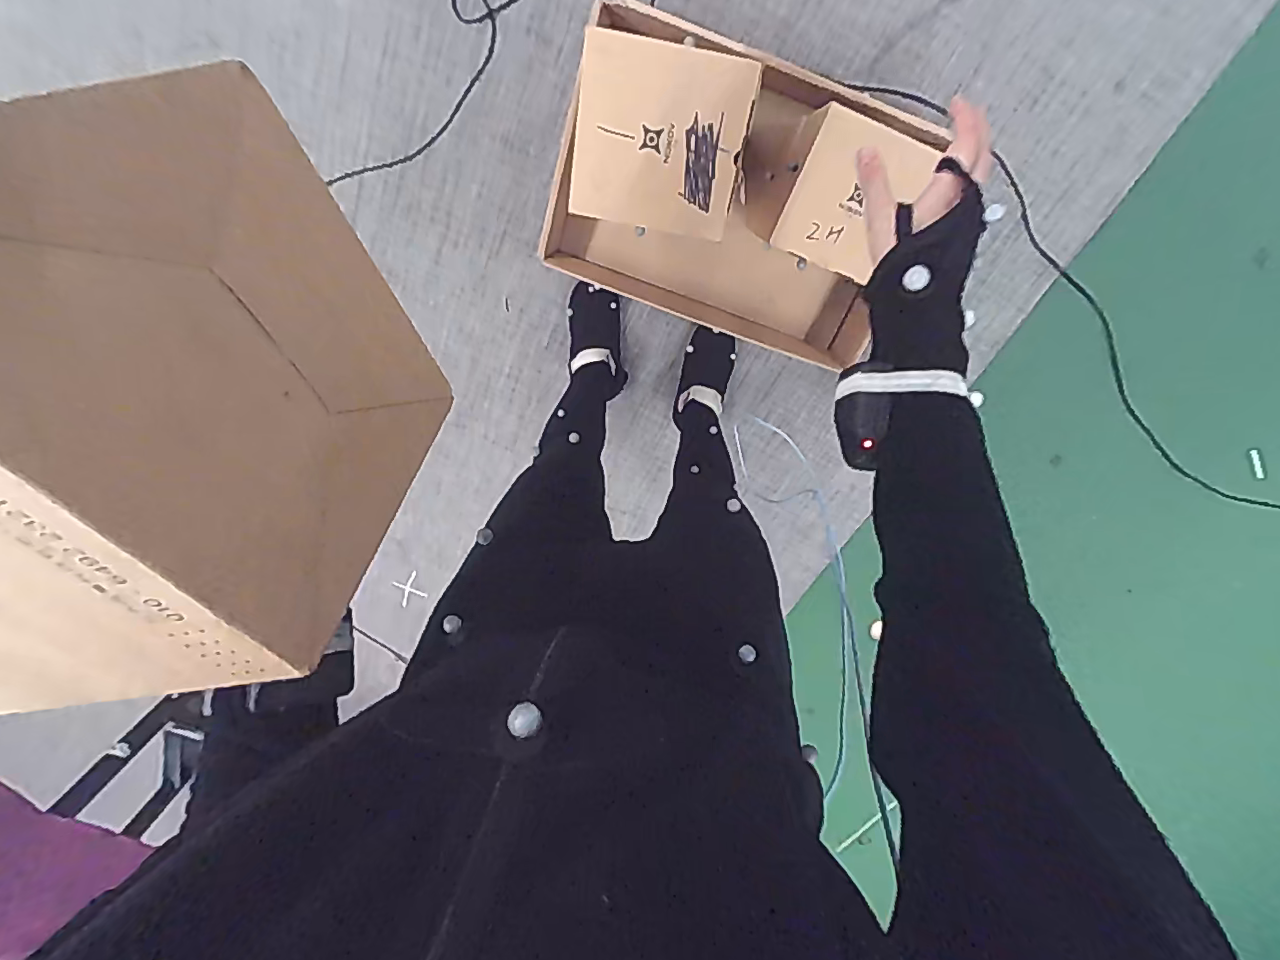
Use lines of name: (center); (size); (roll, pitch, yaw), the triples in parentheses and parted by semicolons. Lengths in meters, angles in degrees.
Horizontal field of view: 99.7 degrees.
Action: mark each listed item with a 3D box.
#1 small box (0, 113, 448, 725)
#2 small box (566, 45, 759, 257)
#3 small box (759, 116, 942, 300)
small box: (-0.214, -0.022, 0.224); (0.176, 0.179, 0.168); (-10, 131, 15)
small box: (0.022, -0.374, 0.631); (0.179, 0.176, 0.168); (11, 119, -2)
small box: (0.285, -0.389, 0.785); (0.168, 0.176, 0.179); (21, 118, -6)
